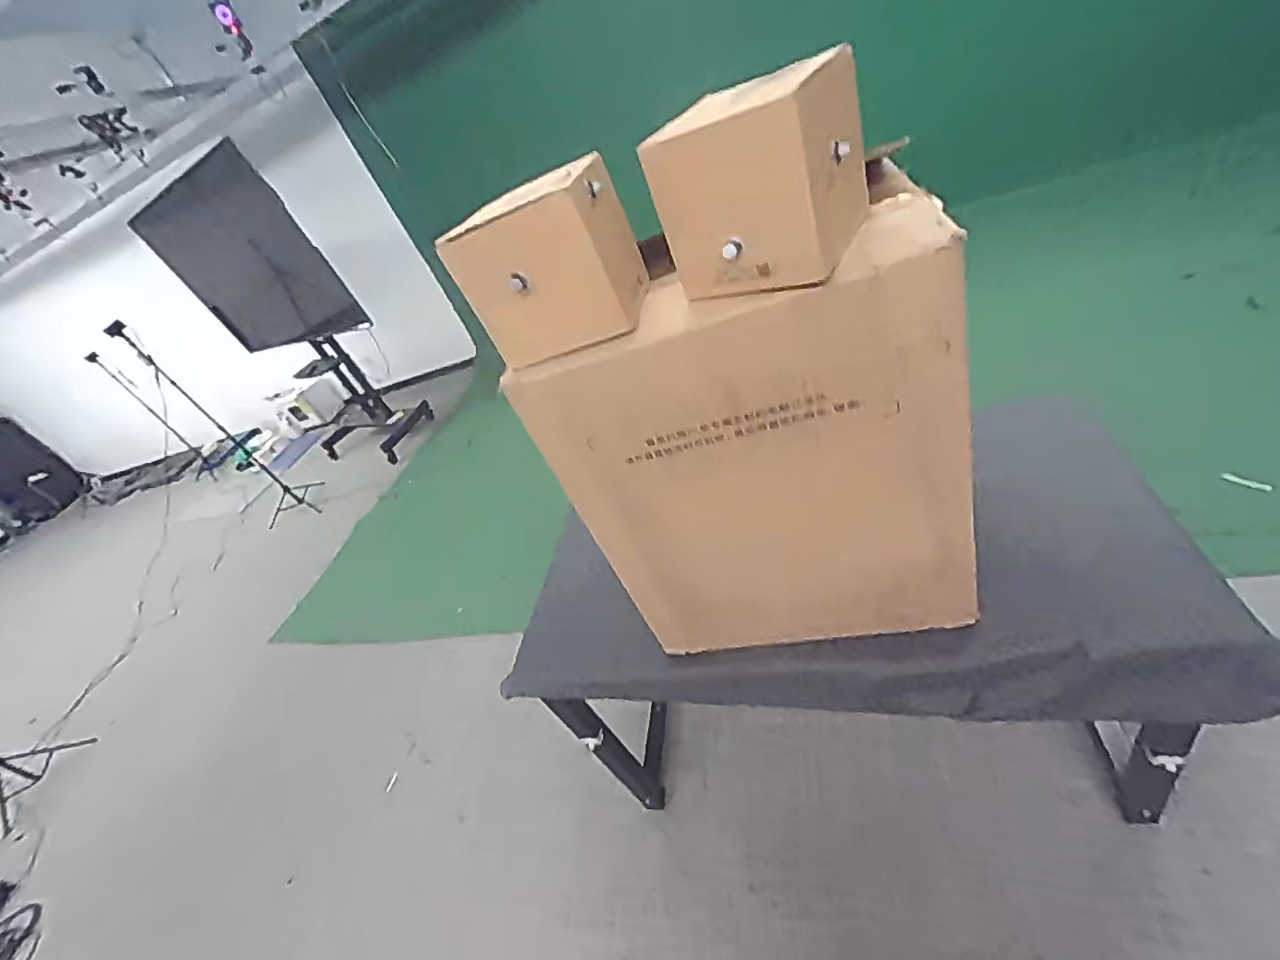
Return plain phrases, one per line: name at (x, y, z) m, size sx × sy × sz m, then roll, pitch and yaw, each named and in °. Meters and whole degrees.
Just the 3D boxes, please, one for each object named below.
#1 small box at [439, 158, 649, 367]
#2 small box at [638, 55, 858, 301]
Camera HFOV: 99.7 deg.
small box at (-0.108, -0.267, 0.685) m, size 0.179 × 0.176 × 0.168 m, roll -14°, pitch 38°, yaw 21°
small box at (0.130, -0.320, 0.595) m, size 0.168 × 0.176 × 0.179 m, roll 6°, pitch 47°, yaw 37°
